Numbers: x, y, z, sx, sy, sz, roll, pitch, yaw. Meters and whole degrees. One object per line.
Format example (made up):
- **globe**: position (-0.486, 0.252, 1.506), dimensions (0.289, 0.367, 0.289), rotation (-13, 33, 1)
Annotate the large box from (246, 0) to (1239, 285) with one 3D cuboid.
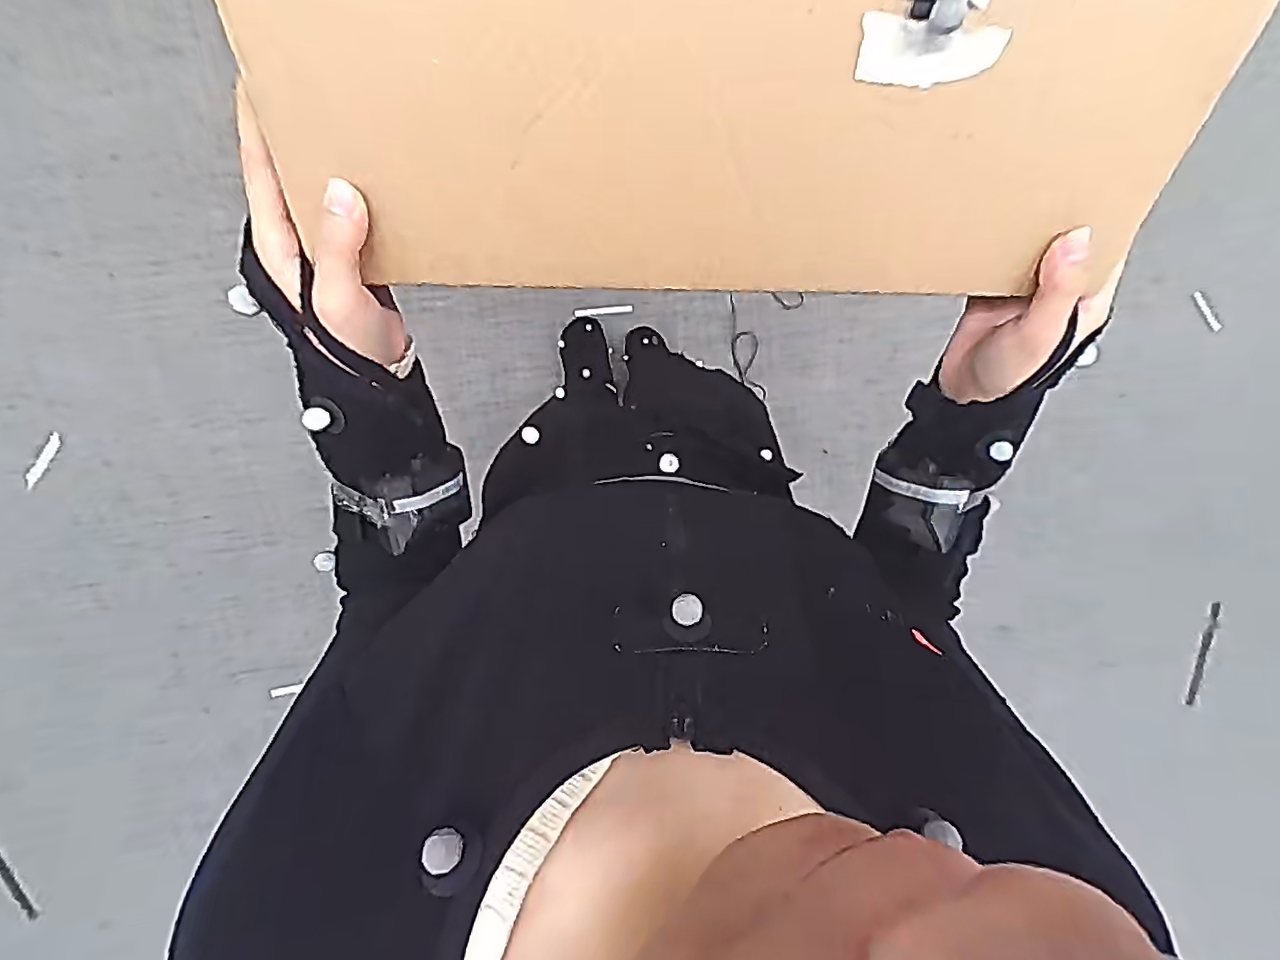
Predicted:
- **large box**: position (0.037, -0.317, 0.302), dimensions (0.408, 0.320, 0.320), rotation (-1, 130, -5)
